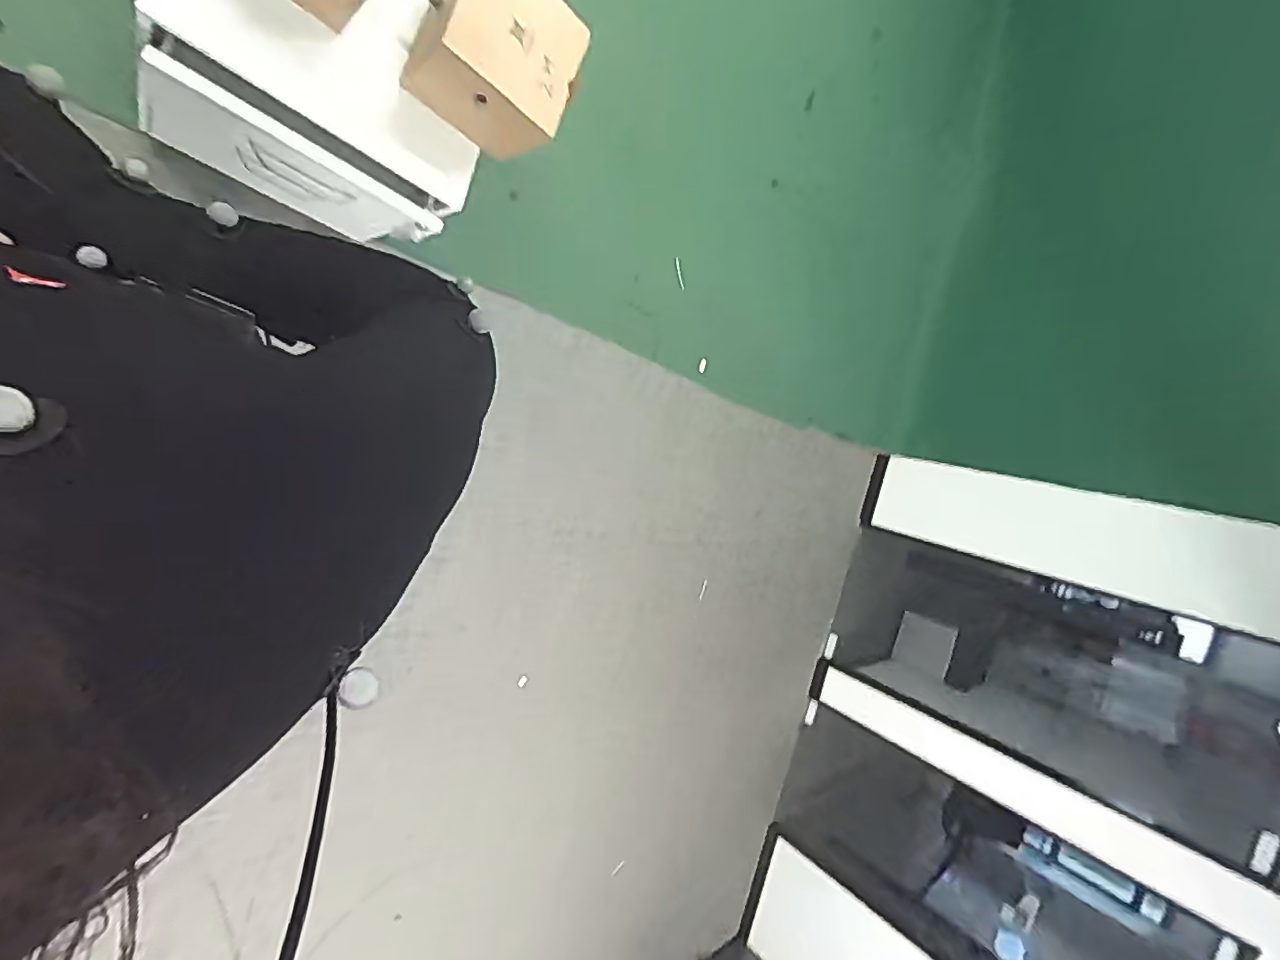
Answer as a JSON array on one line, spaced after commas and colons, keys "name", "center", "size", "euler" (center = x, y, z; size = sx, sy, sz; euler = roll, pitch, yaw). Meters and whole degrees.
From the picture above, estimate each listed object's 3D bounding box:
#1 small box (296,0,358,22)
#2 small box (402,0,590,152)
[{"name": "small box", "center": [-0.377, -0.665, 0.593], "size": [0.179, 0.176, 0.168], "euler": [16, 92, -45]}, {"name": "small box", "center": [-0.208, -0.604, 0.766], "size": [0.179, 0.176, 0.168], "euler": [21, 89, -44]}]
